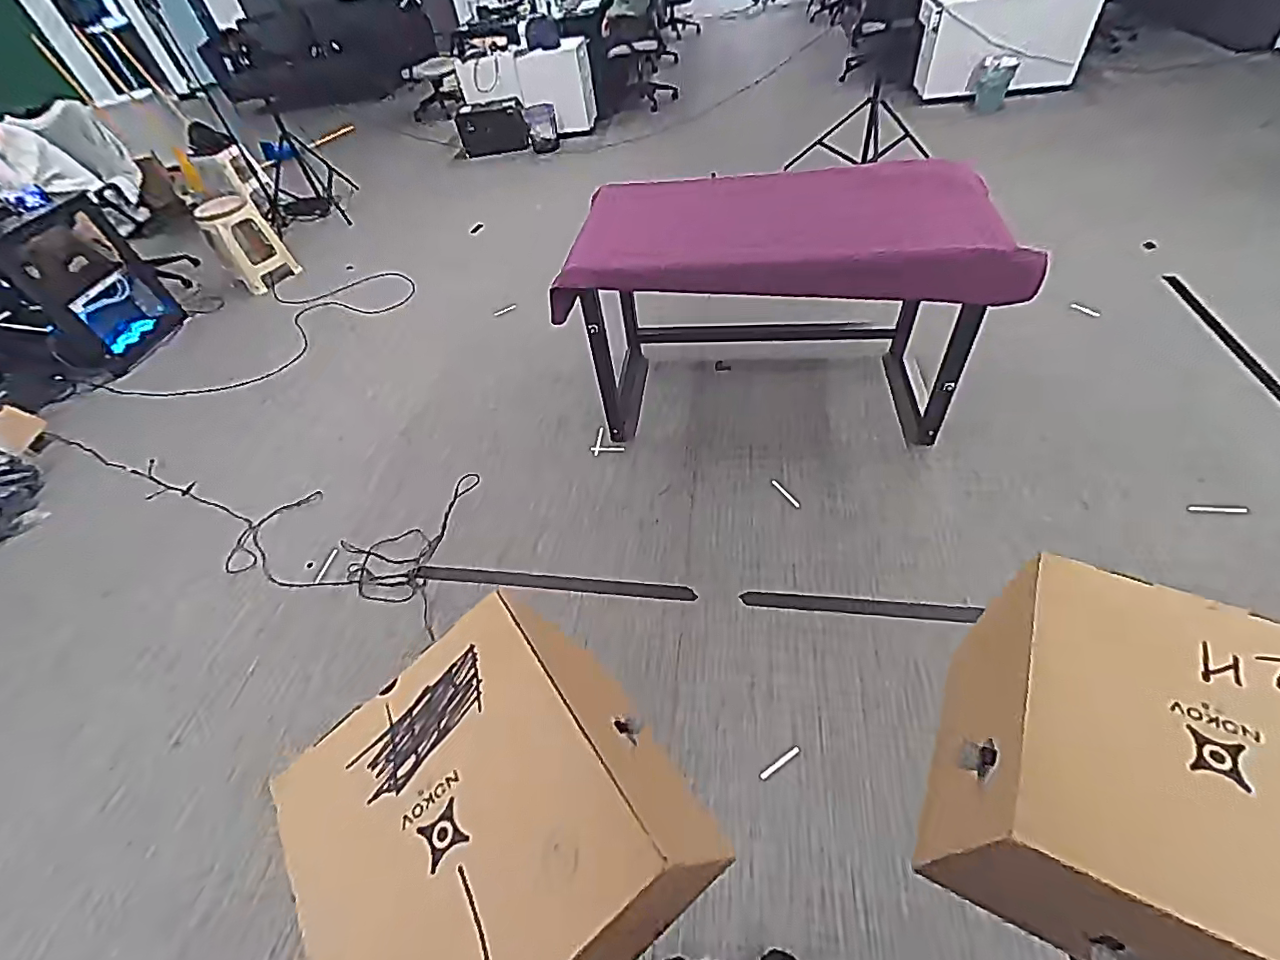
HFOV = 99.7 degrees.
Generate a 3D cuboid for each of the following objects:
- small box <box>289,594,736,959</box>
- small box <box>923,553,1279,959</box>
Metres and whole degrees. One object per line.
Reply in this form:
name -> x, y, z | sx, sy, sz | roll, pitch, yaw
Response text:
small box -> -0.067, 0.209, 0.333 | 0.168, 0.176, 0.179 | -41, 53, -7
small box -> 0.292, 0.182, 0.328 | 0.168, 0.176, 0.179 | 20, 55, 21
